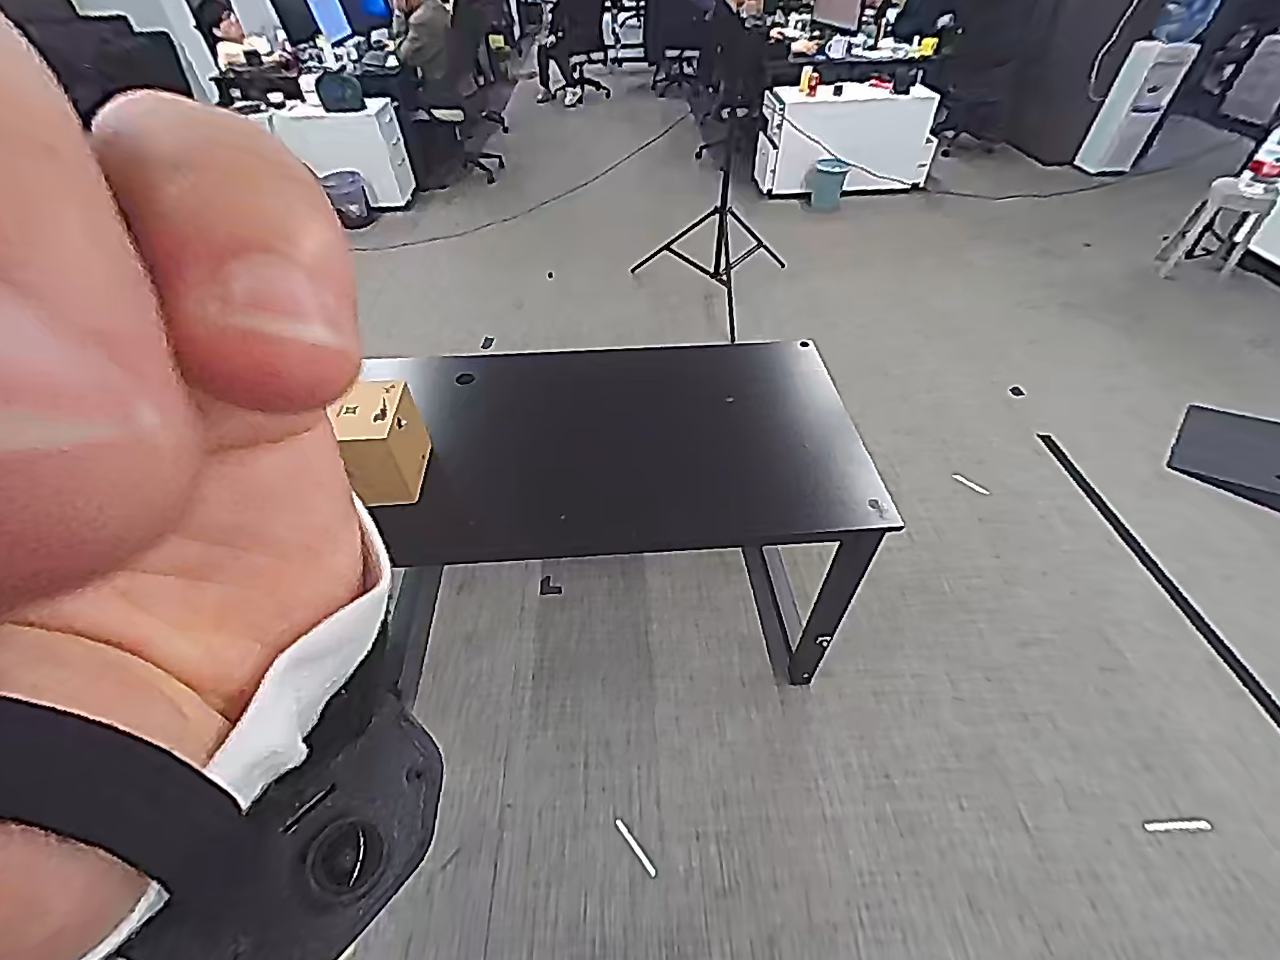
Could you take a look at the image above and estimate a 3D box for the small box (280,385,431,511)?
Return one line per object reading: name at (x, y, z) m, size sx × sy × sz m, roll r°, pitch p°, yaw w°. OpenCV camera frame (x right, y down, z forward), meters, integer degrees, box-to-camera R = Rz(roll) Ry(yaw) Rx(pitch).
small box at (-0.515, -0.057, 1.009) m, size 0.179 × 0.176 × 0.168 m, roll -5°, pitch 47°, yaw -3°
